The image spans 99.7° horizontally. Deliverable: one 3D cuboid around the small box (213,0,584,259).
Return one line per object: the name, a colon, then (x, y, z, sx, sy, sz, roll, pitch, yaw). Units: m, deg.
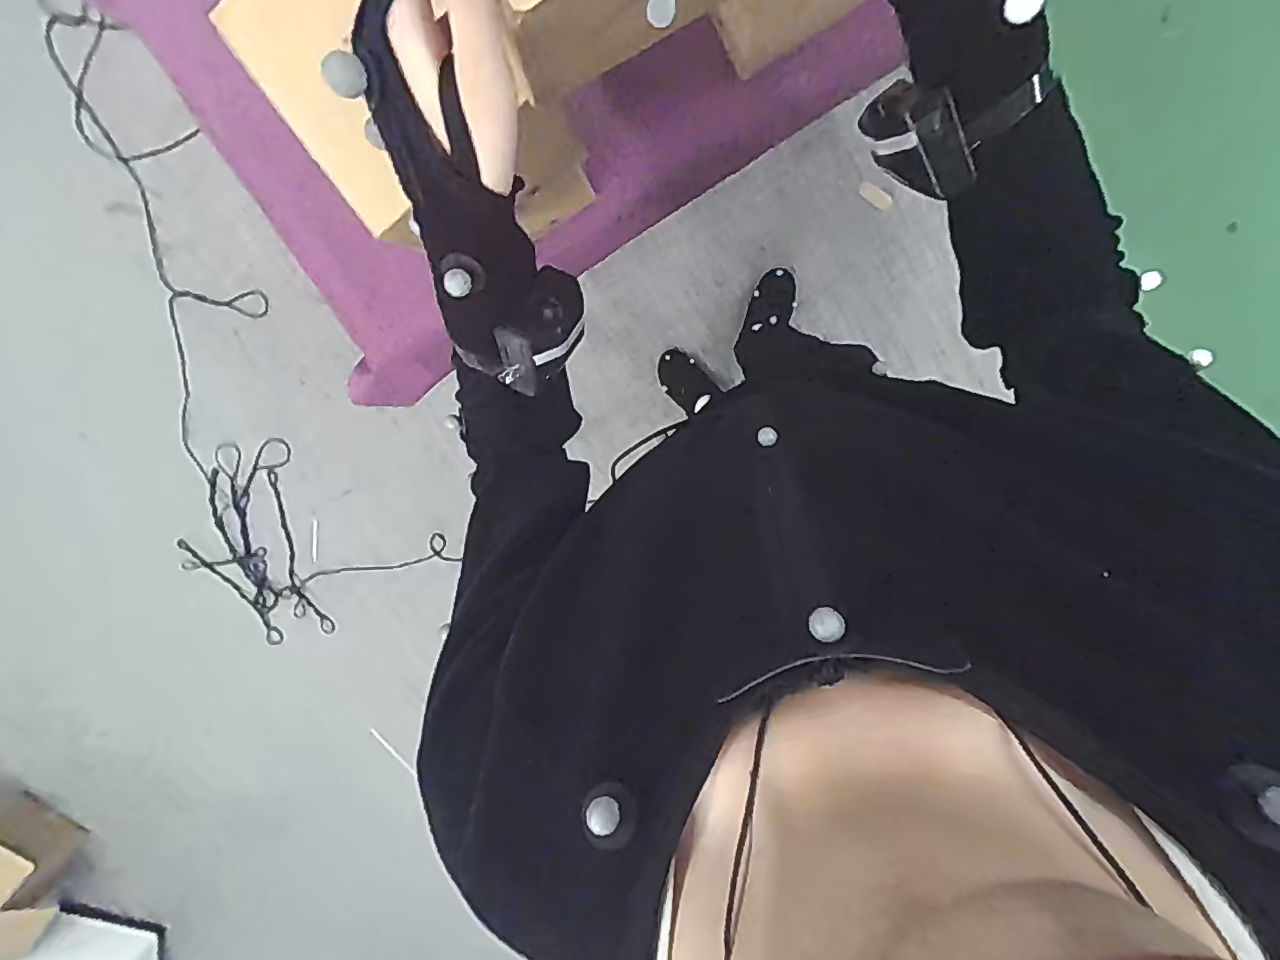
small box: (-0.168, -0.307, 0.438, 0.168, 0.176, 0.179, -34, 100, 12)

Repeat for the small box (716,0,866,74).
small box: (0.148, -0.547, 0.518, 0.179, 0.176, 0.168, -28, 101, 10)

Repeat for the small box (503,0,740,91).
small box: (-0.005, -0.303, 0.225, 0.179, 0.176, 0.168, -25, 115, 5)
